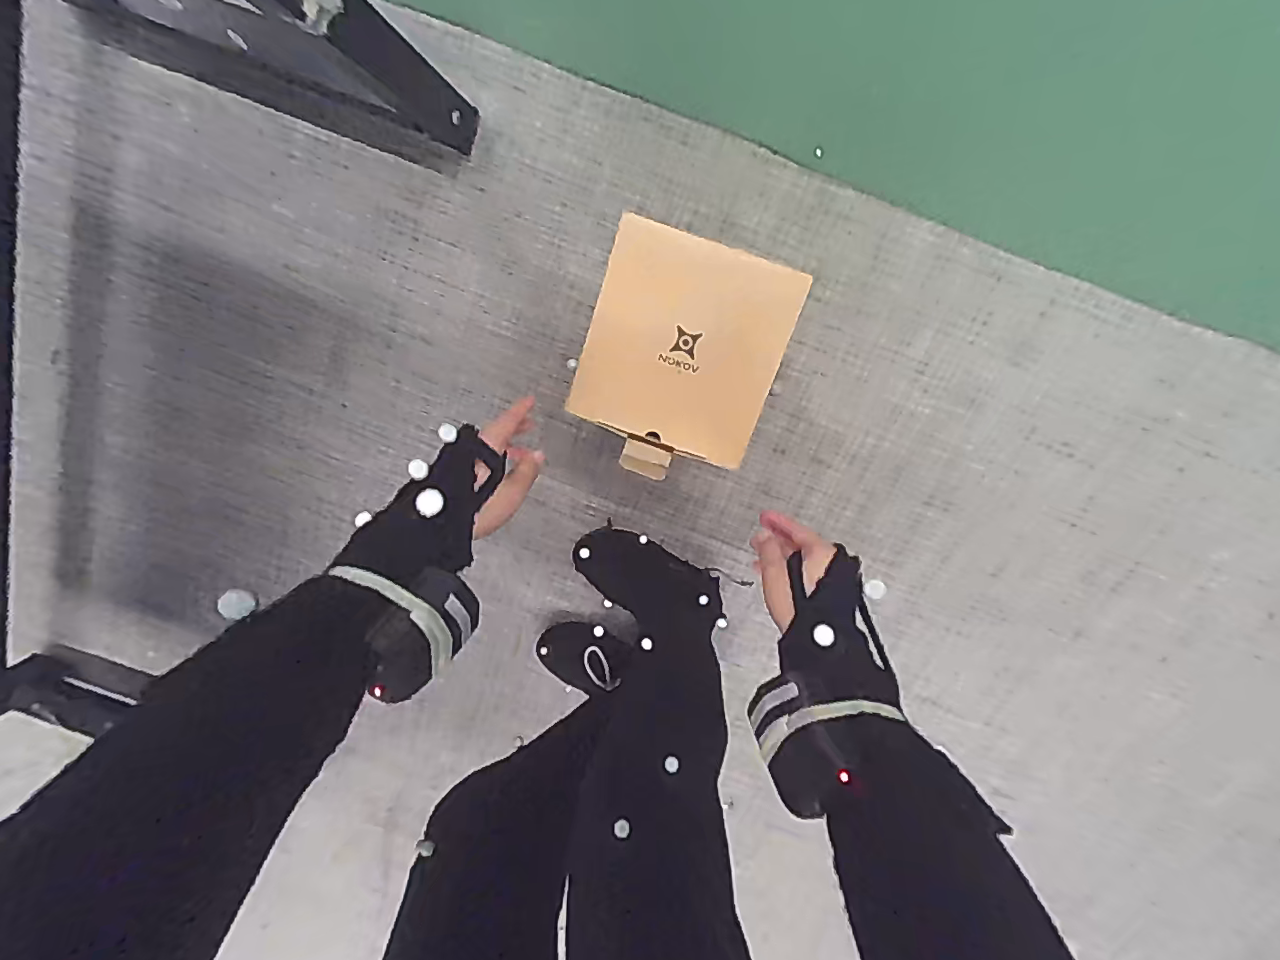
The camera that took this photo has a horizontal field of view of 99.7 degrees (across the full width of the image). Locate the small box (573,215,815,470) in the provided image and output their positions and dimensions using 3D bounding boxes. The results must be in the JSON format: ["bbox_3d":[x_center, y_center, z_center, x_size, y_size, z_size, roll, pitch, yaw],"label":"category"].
[{"bbox_3d":[0.047,-0.133,0.541,0.168,0.176,0.179,19,106,0],"label":"small box"}]
